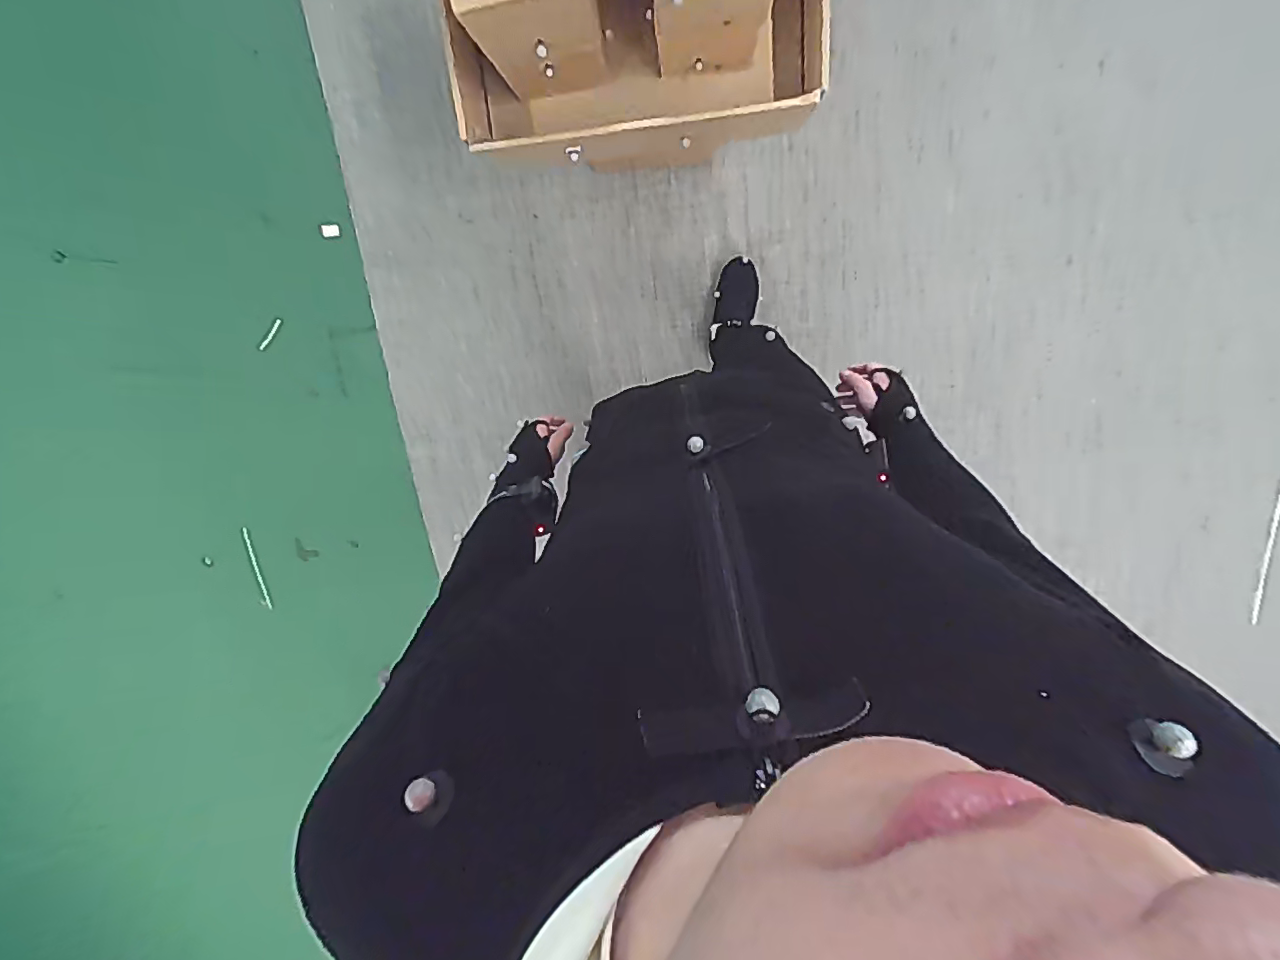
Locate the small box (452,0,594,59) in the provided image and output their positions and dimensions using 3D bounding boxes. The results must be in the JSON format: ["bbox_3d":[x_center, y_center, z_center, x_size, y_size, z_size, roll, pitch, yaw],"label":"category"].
[{"bbox_3d":[-0.165,-0.727,0.750,0.179,0.176,0.168,-7,107,6],"label":"small box"}]

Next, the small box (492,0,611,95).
[{"bbox_3d":[-0.152,-0.777,0.906,0.179,0.176,0.168,-5,107,5],"label":"small box"}]
